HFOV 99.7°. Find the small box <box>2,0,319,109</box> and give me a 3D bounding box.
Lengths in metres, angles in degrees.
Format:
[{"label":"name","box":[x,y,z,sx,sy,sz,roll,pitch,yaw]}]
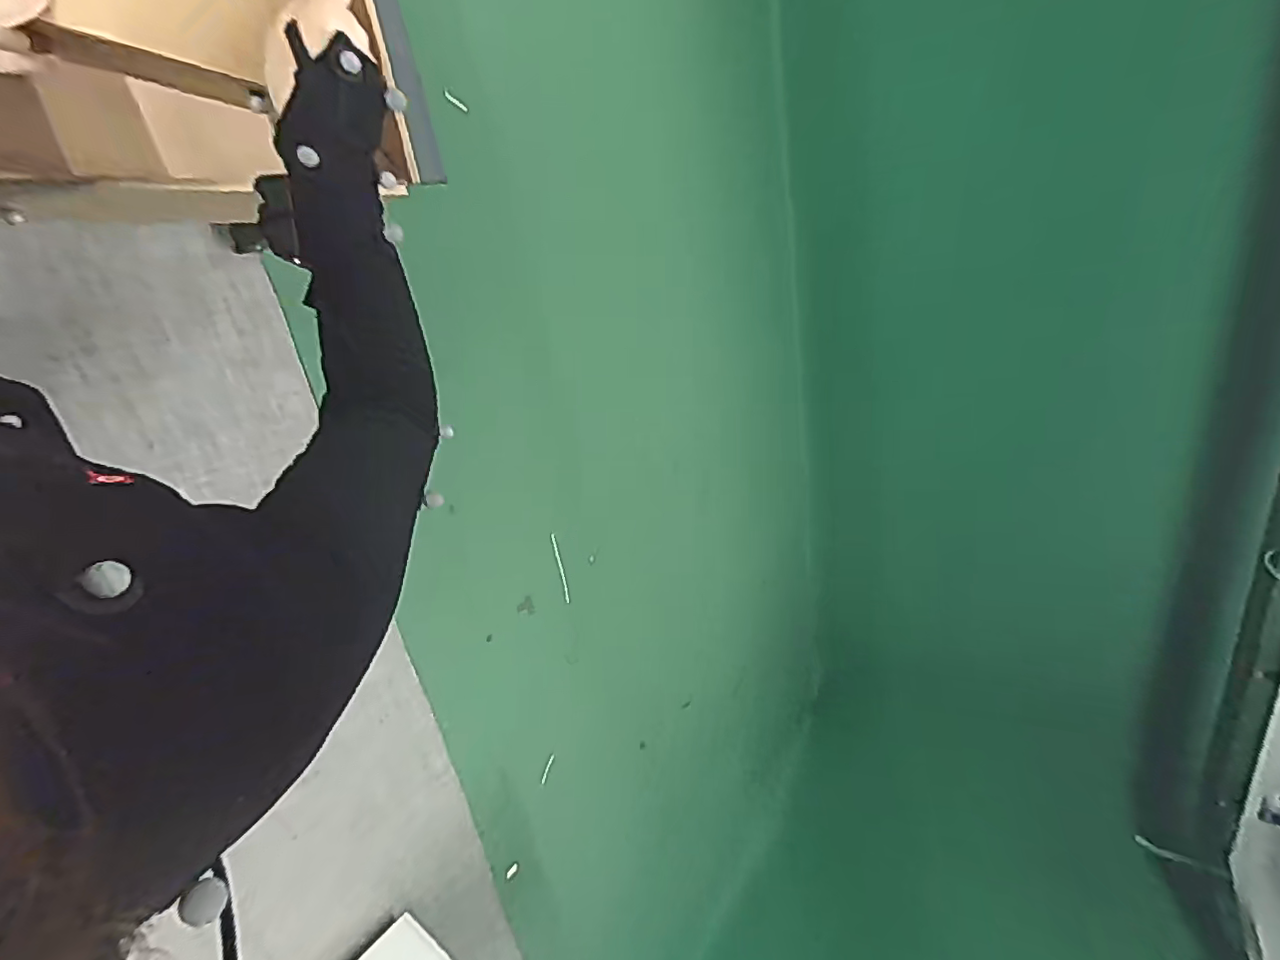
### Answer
[{"label":"small box","box":[-0.348,-0.395,0.396,0.179,0.176,0.168,-5,118,-37]}]
